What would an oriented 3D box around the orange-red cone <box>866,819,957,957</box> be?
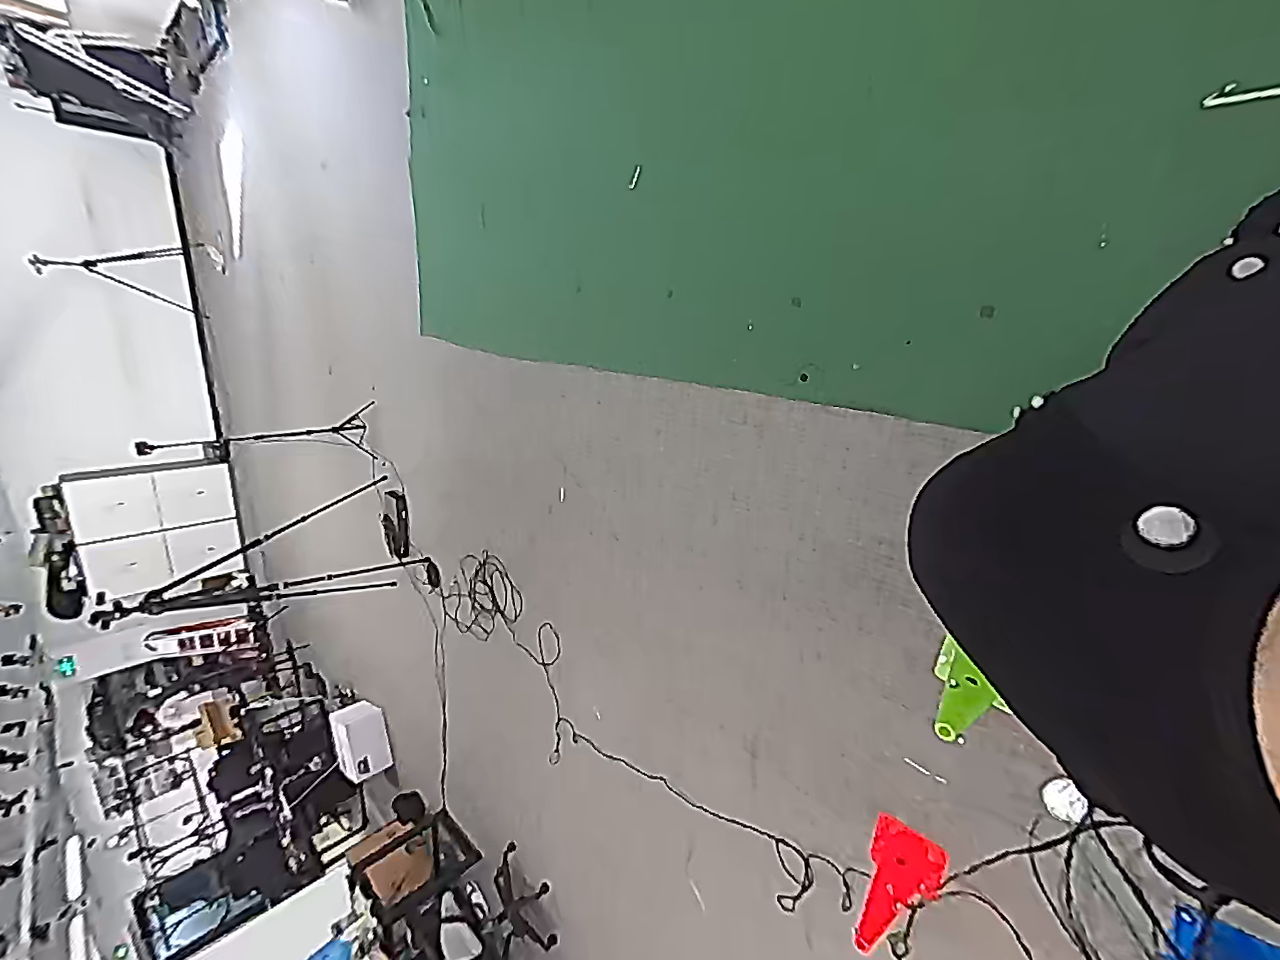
[{"bbox_3d":[0.715,1.175,1.509,0.198,0.360,0.199,18,111,40],"label":"orange-red cone"}]
